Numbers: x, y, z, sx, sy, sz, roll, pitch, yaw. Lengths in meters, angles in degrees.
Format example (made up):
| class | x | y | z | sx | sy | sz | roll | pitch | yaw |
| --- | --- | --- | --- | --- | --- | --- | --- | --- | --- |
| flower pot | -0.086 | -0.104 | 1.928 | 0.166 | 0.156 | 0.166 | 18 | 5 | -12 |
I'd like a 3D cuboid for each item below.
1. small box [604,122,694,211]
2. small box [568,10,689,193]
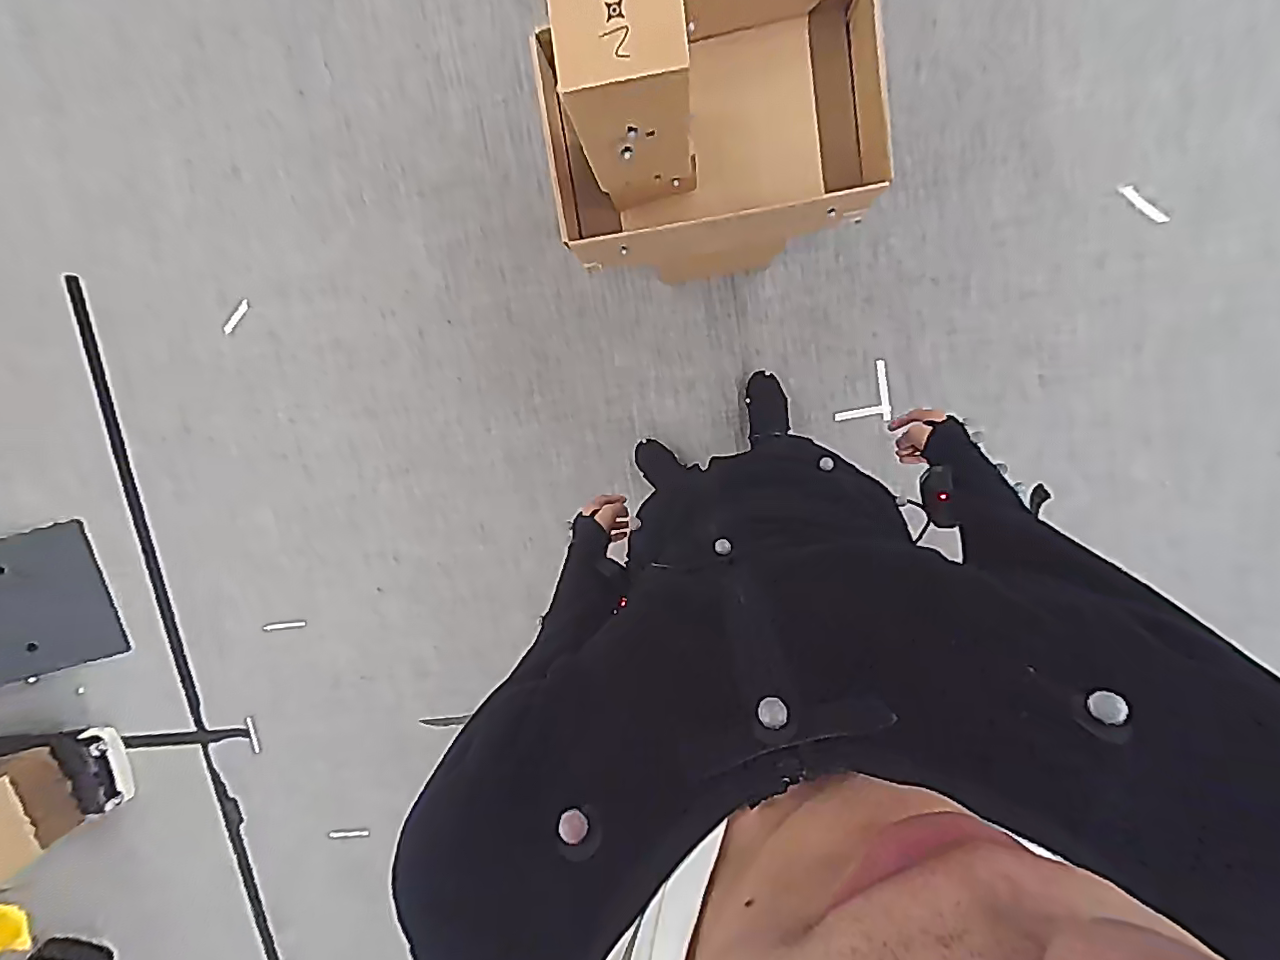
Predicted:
| class | x | y | z | sx | sy | sz | roll | pitch | yaw |
| --- | --- | --- | --- | --- | --- | --- | --- | --- | --- |
| small box | 0.003 | -0.651 | 1.049 | 0.179 | 0.176 | 0.168 | -13 | 96 | 8 |
| small box | -0.011 | -0.609 | 0.891 | 0.168 | 0.176 | 0.179 | -7 | 97 | 7 |
